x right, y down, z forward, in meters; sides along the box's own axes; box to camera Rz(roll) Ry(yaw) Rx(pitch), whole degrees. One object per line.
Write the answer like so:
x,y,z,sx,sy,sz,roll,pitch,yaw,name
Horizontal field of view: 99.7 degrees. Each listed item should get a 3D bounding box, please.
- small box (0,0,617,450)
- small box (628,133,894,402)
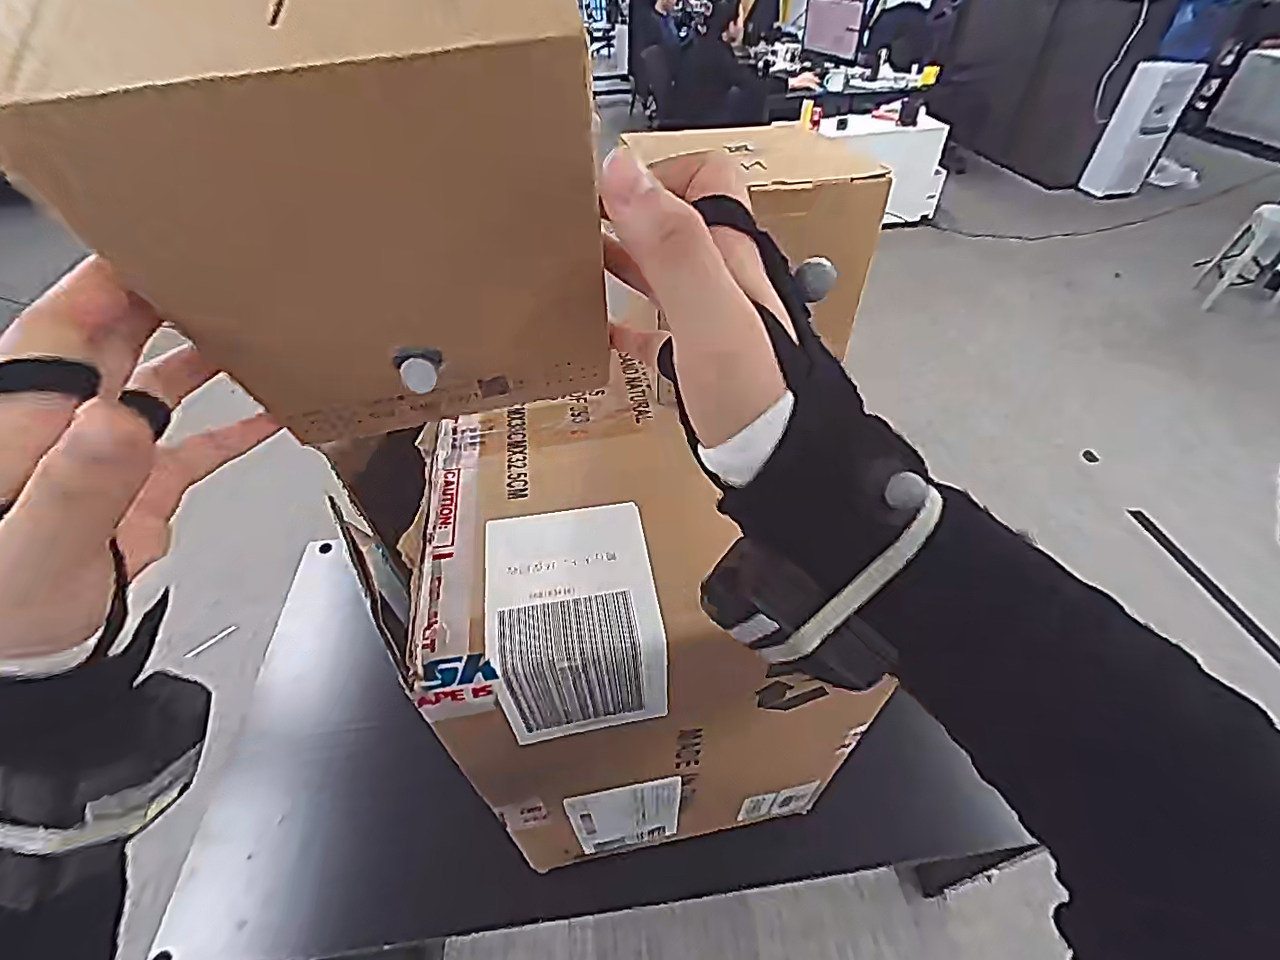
-0.107,-0.139,0.249,0.168,0.176,0.179,-12,65,-6,small box
0.082,-0.189,0.477,0.168,0.176,0.179,-8,43,-7,small box
